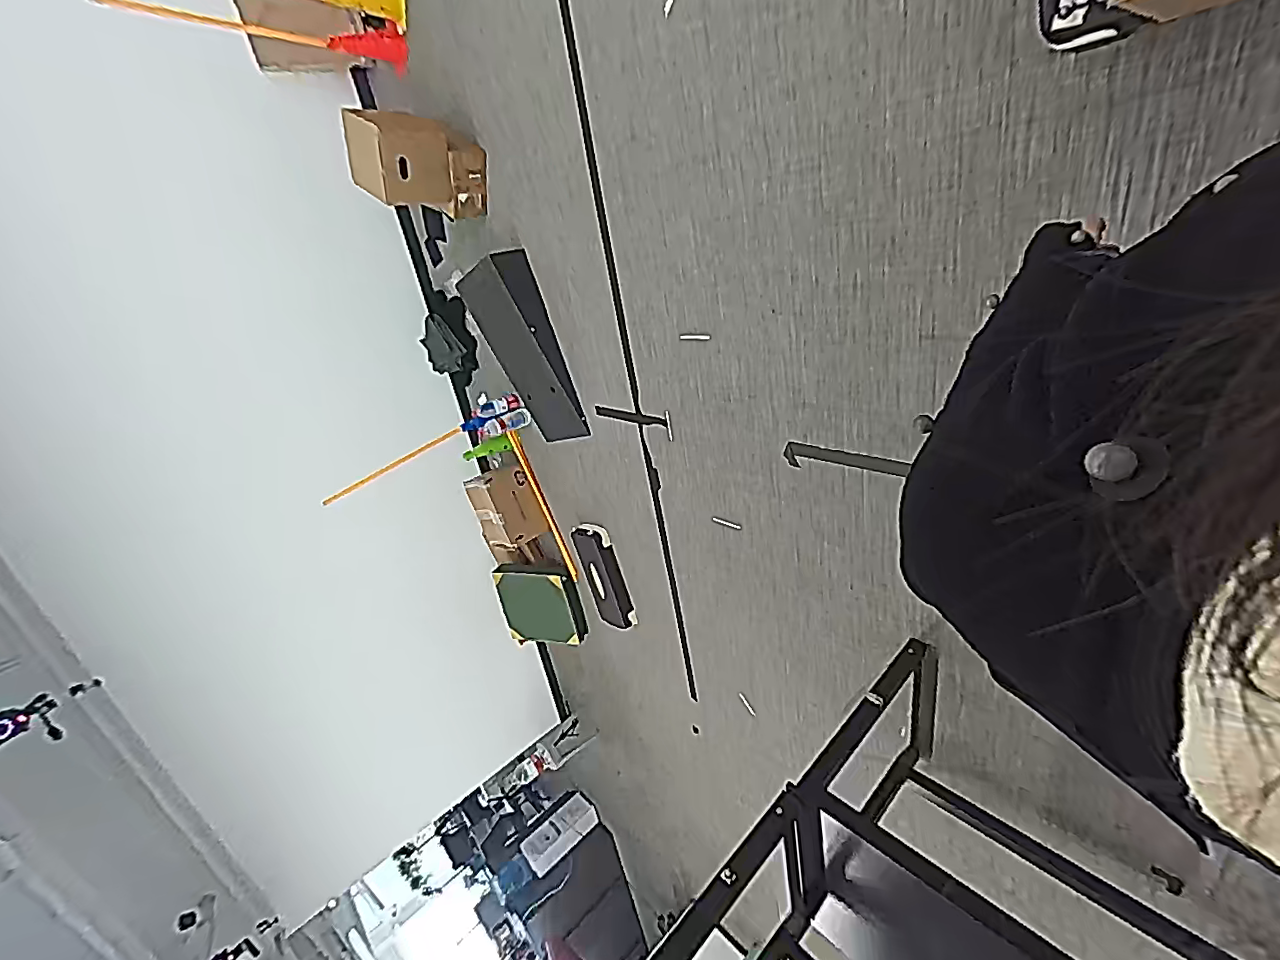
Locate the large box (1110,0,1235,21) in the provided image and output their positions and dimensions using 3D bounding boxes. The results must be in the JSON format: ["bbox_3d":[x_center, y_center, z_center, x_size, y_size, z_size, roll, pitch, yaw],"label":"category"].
[{"bbox_3d":[0.789,-0.740,0.541,0.408,0.320,0.320,17,125,48],"label":"large box"}]
